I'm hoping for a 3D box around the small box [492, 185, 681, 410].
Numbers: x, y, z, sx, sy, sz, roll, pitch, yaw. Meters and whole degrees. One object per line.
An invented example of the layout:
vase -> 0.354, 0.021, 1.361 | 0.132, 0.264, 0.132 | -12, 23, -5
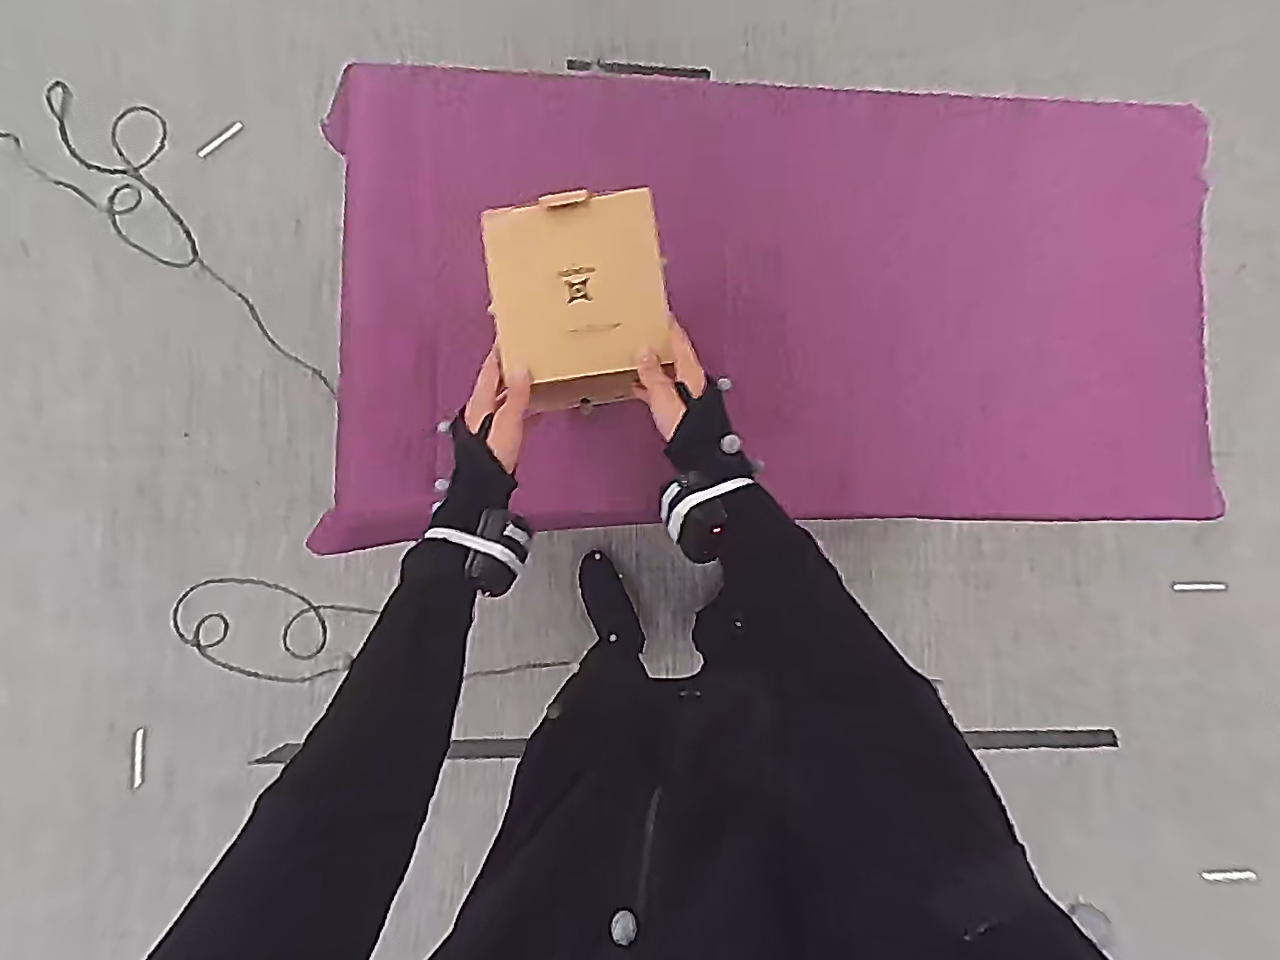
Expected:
small box -> -0.052, -0.183, 0.588 | 0.168, 0.176, 0.179 | -7, 89, -1
